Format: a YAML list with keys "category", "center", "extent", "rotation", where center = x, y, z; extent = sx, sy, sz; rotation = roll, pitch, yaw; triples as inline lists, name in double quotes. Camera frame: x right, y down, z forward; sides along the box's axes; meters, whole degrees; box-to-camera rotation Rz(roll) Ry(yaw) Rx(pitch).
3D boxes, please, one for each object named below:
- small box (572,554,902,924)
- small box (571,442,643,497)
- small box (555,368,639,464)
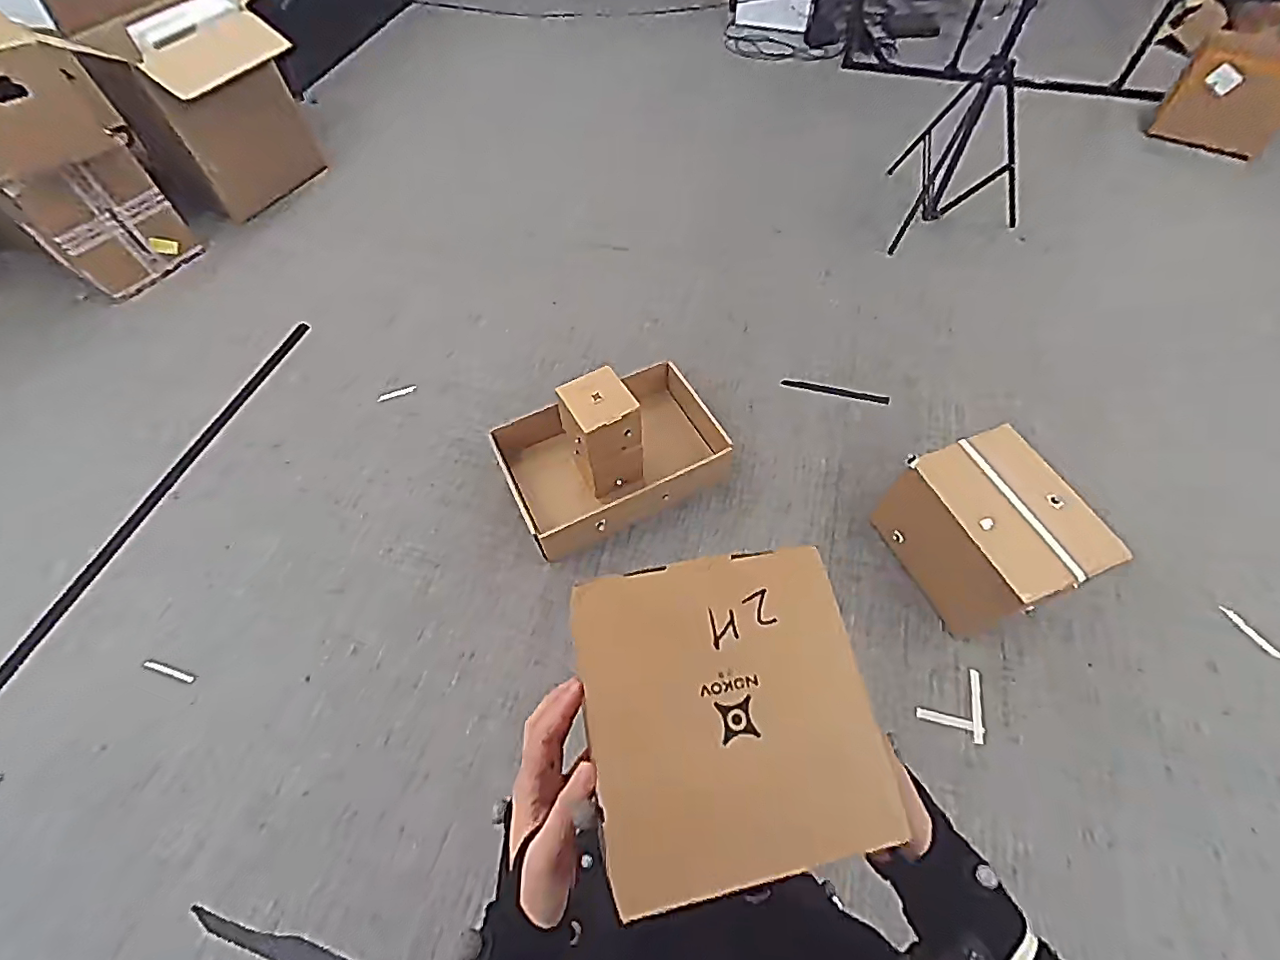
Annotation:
- category: "small box"
  center: [0.043, 0.168, 0.390]
  extent: [0.168, 0.176, 0.179]
  rotation: [-7, 67, -12]
- category: "small box"
  center: [-0.102, -0.082, 1.607]
  extent: [0.168, 0.176, 0.179]
  rotation: [-25, 62, -13]
- category: "small box"
  center: [-0.111, -0.165, 1.468]
  extent: [0.168, 0.176, 0.179]
  rotation: [-28, 61, -16]
